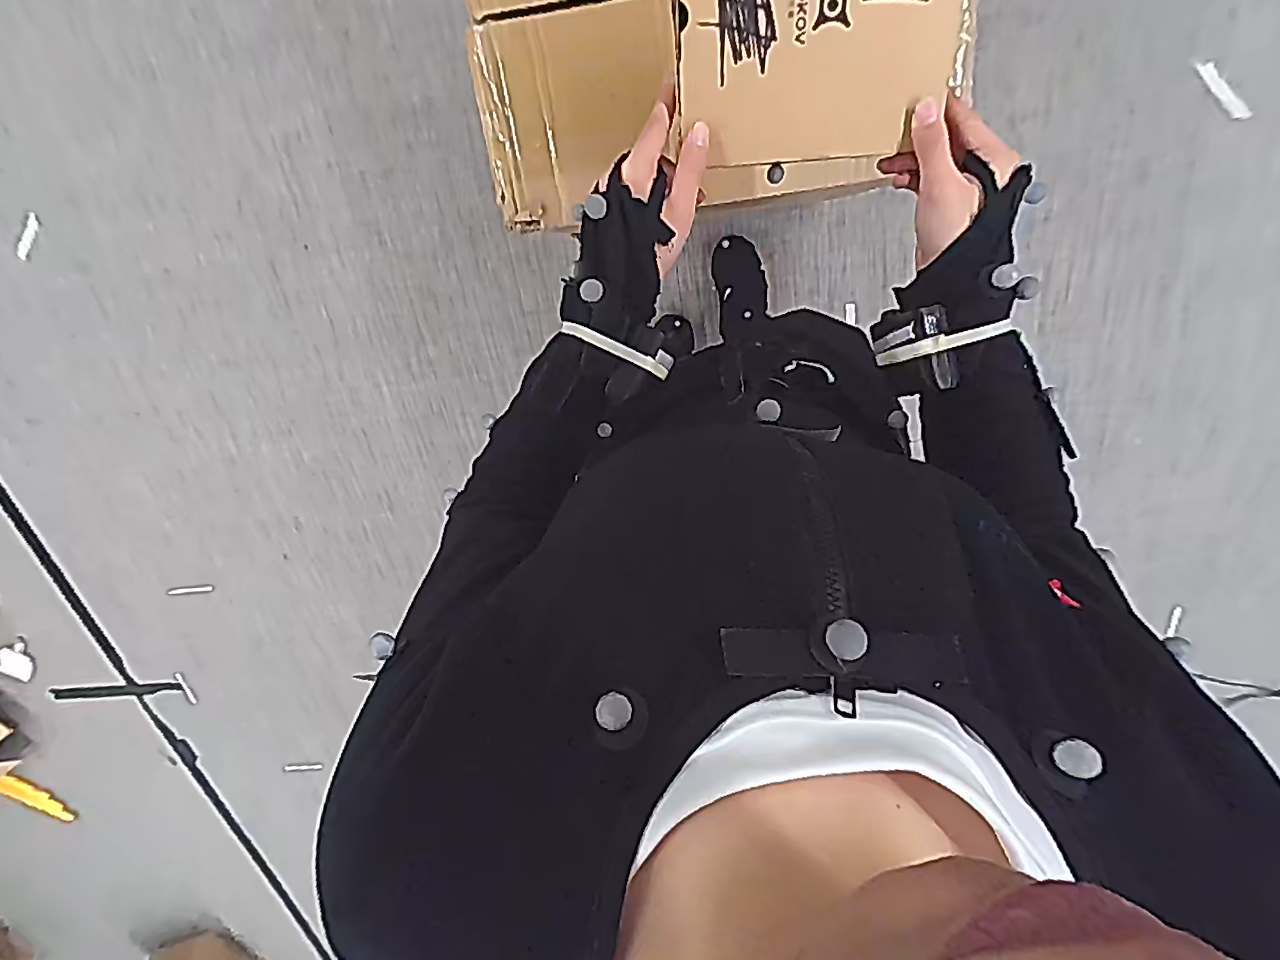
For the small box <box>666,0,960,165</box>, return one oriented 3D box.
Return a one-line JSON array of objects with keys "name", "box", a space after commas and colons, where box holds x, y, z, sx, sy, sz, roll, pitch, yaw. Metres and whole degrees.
[{"name": "small box", "box": [0.108, -0.332, 0.395, 0.179, 0.176, 0.168, -3, 120, 2]}]
